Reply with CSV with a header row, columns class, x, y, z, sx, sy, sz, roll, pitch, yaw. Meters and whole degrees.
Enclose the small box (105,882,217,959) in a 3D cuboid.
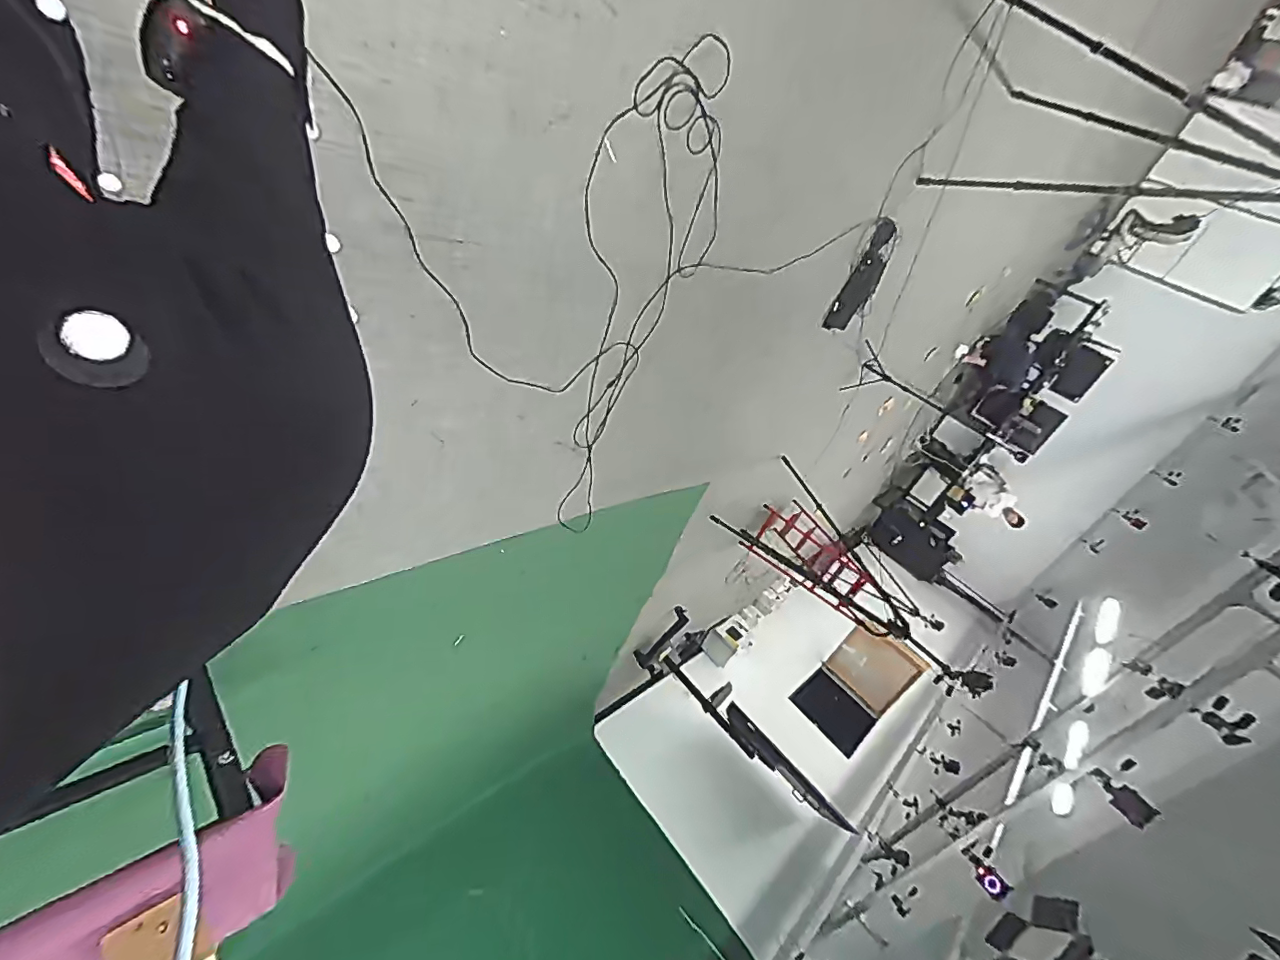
class,x,y,z,sx,sy,sz,roll,pitch,yaw
small box,-1.119,1.099,1.270,0.168,0.176,0.179,-16,139,-43
